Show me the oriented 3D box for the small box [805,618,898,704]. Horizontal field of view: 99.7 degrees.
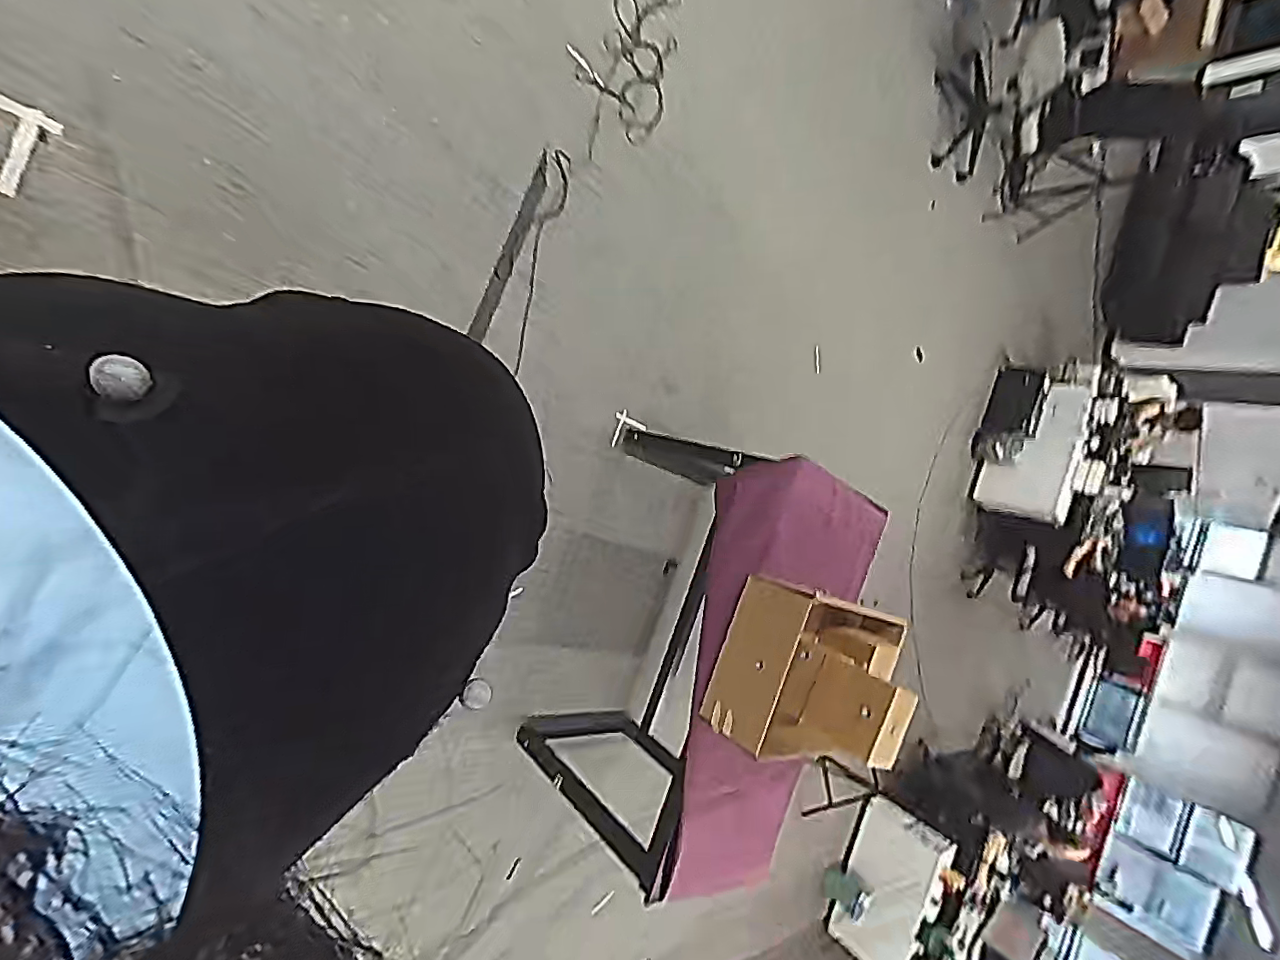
[{"bbox_3d":[0.599,0.515,1.545,0.168,0.176,0.179,18,90,-42],"label":"small box"}]
